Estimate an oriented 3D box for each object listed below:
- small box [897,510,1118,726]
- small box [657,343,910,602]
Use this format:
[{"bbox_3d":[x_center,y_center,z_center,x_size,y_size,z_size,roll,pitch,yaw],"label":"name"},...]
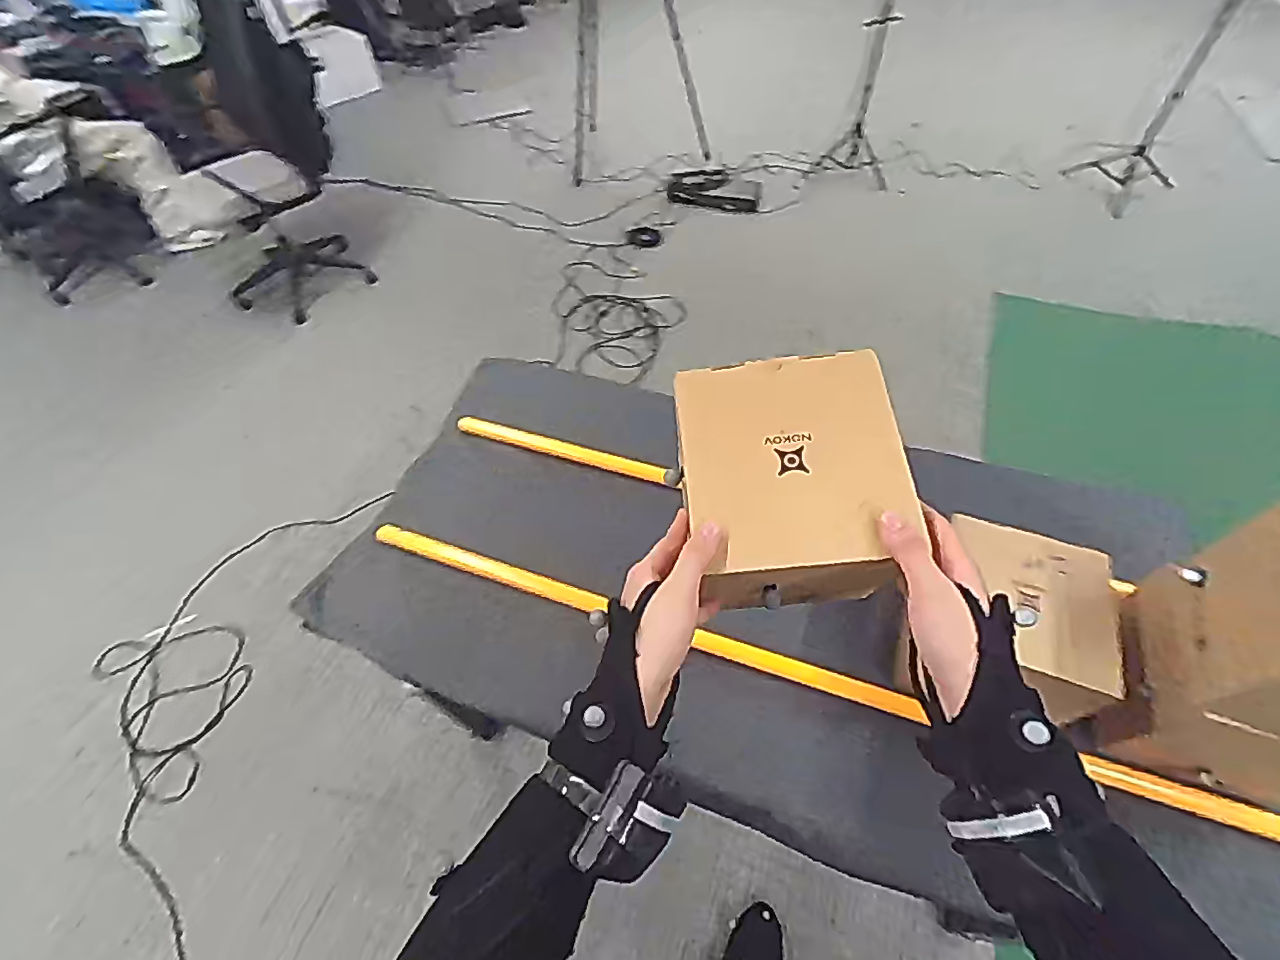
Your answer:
[{"bbox_3d":[0.429,0.170,0.656,0.168,0.176,0.179,17,56,16],"label":"small box"},{"bbox_3d":[0.110,0.008,0.483,0.168,0.176,0.179,-7,67,4],"label":"small box"}]
